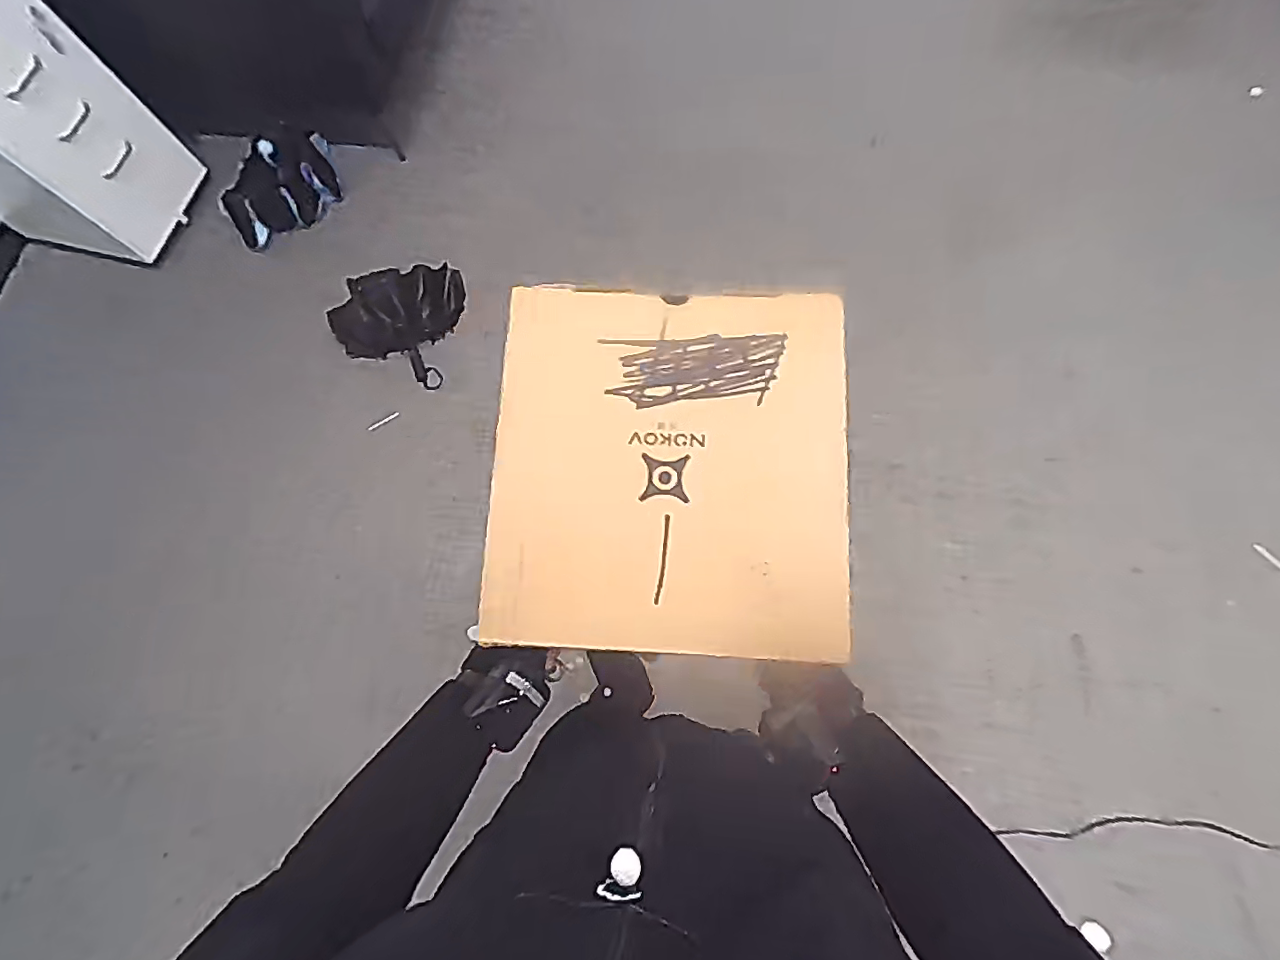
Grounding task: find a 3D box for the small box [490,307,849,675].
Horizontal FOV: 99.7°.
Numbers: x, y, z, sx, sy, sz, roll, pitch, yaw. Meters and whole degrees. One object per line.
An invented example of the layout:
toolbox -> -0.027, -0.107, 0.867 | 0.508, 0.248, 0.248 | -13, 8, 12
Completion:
small box -> 0.019, 0.014, 0.339 | 0.168, 0.176, 0.179 | 2, 79, 3
